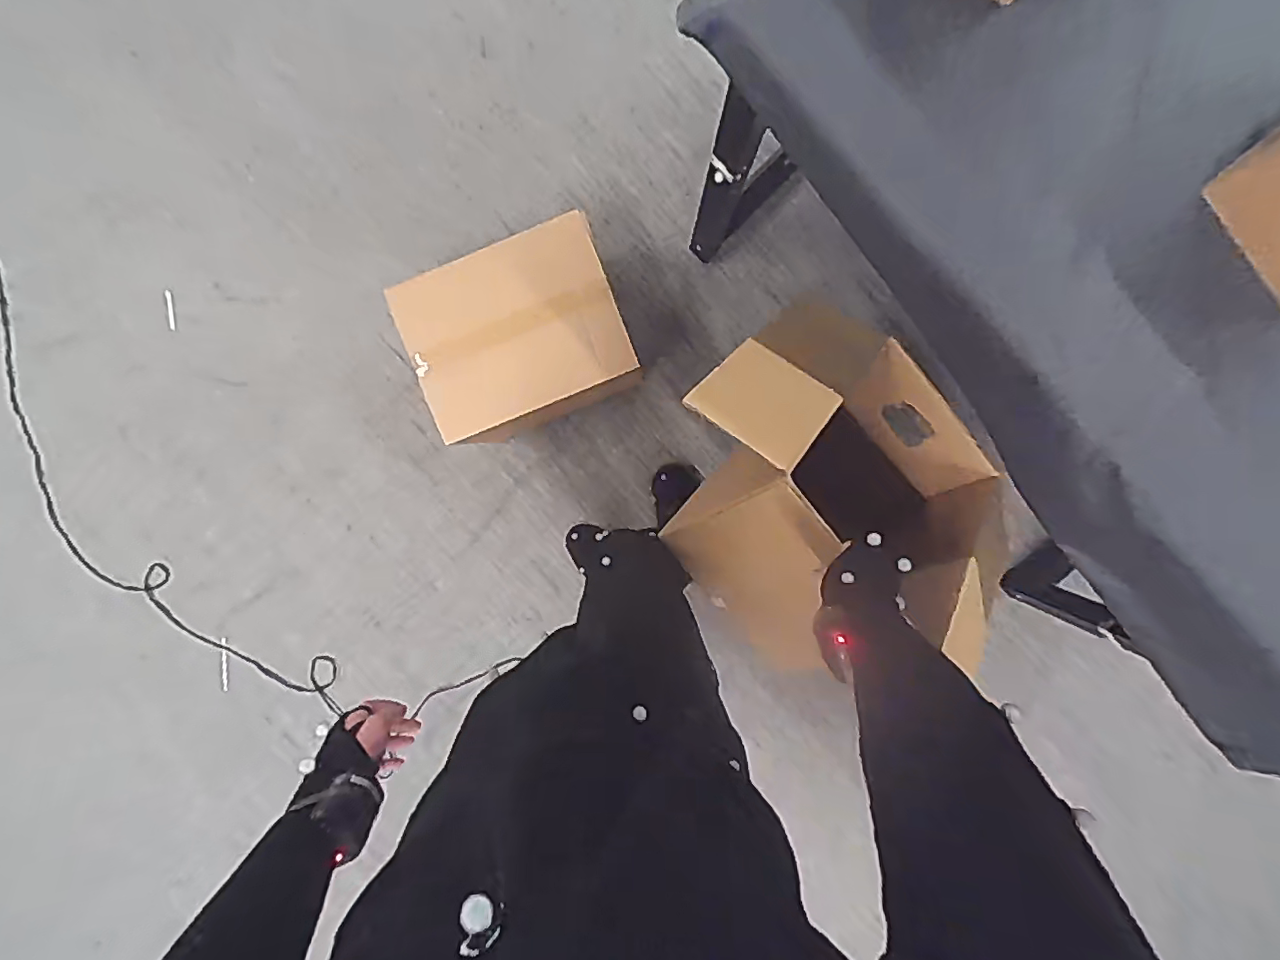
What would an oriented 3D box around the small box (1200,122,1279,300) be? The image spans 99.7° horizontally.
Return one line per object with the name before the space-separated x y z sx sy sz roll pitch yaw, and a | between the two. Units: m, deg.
small box | 0.706 -0.285 0.497 0.168 0.176 0.179 -40 92 2
